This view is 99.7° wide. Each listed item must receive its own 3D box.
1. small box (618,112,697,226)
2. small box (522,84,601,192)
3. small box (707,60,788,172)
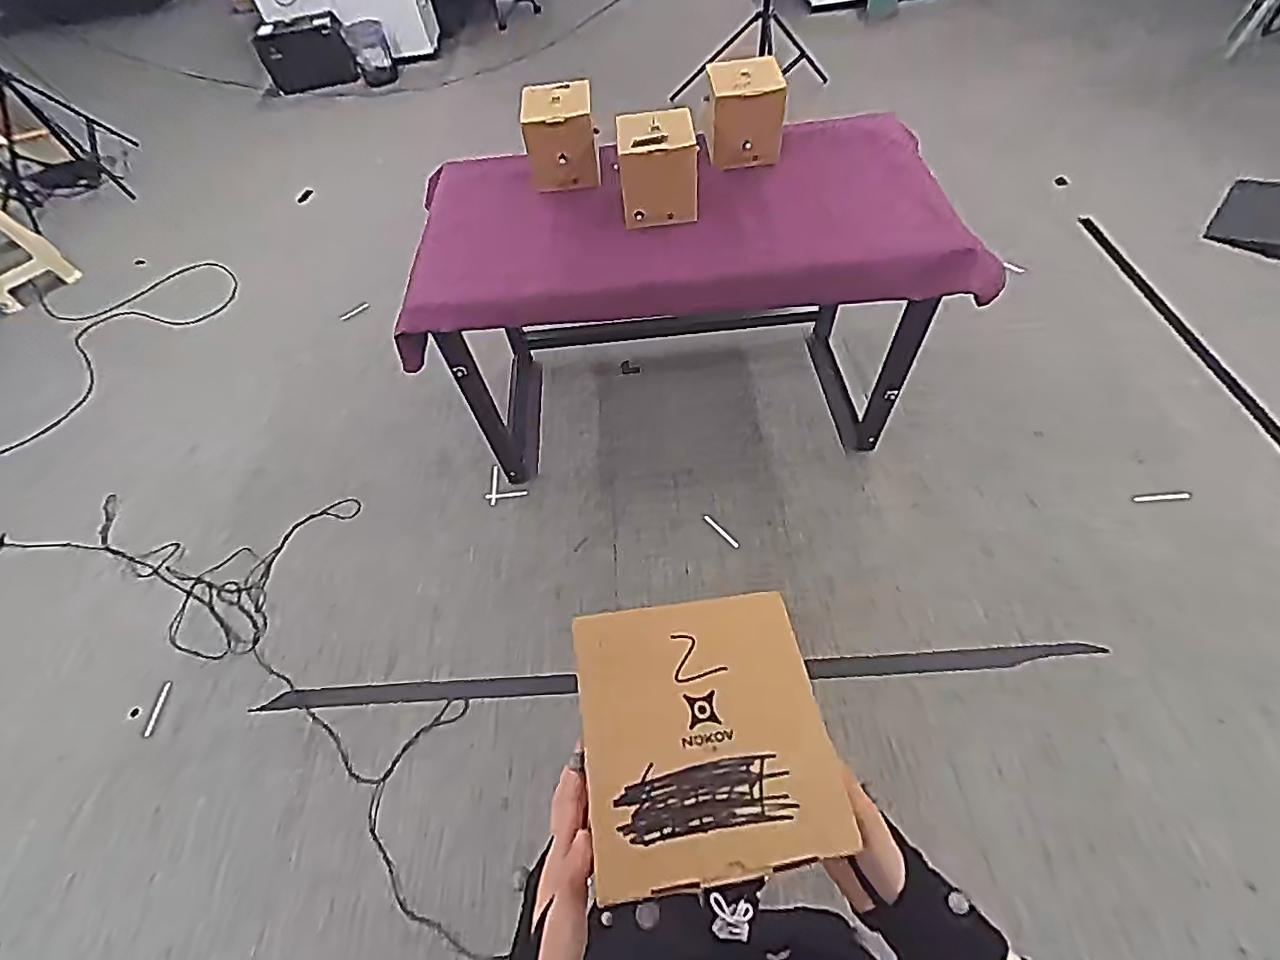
[{"bbox_3d":[0.042,-0.701,1.234,0.168,0.176,0.179,-5,56,3],"label":"small box"},{"bbox_3d":[-0.189,-0.843,1.347,0.168,0.176,0.179,-5,59,2],"label":"small box"},{"bbox_3d":[0.256,-0.896,1.335,0.168,0.176,0.179,-6,58,3],"label":"small box"}]
